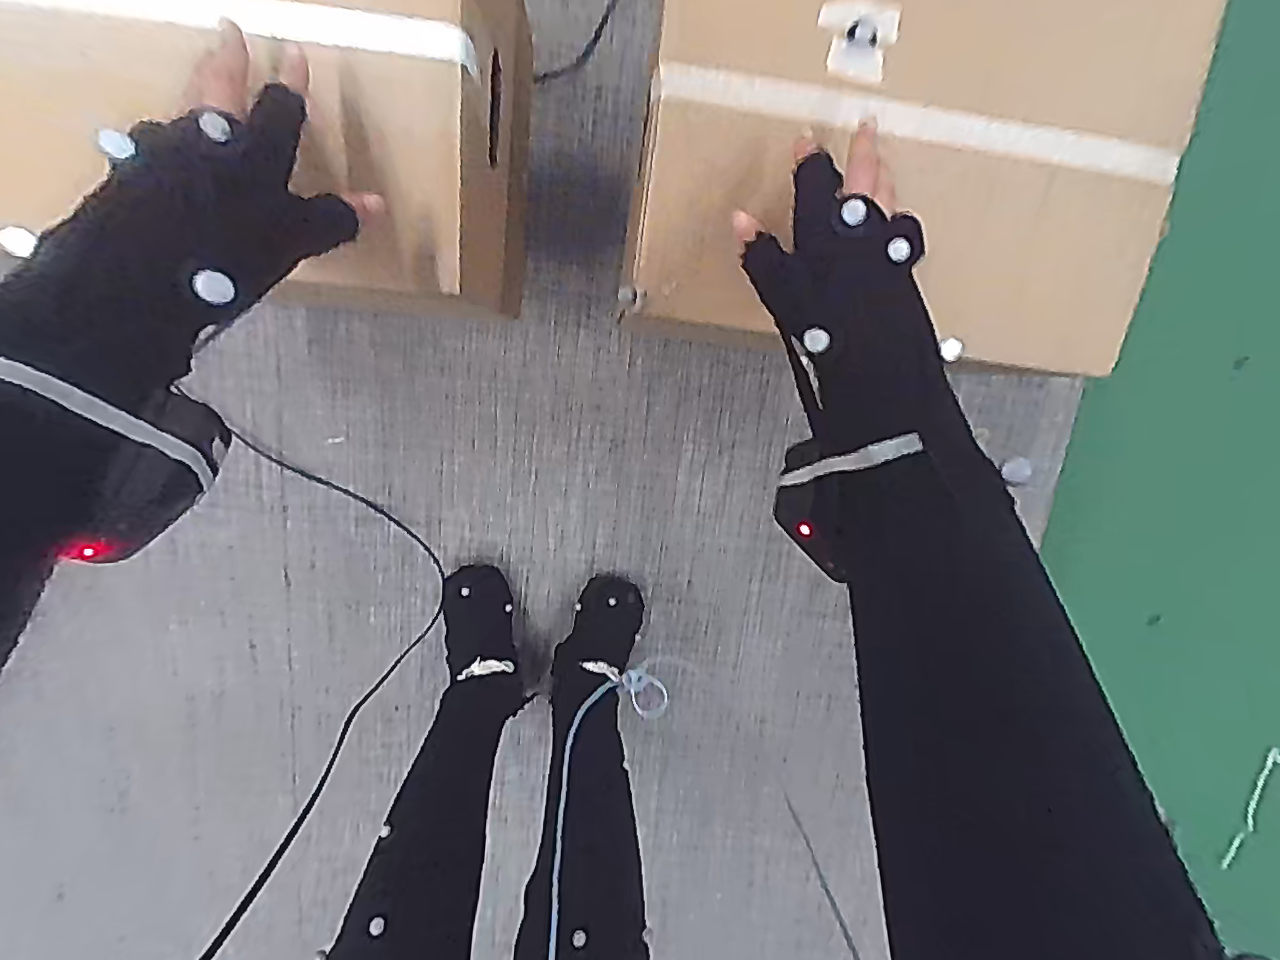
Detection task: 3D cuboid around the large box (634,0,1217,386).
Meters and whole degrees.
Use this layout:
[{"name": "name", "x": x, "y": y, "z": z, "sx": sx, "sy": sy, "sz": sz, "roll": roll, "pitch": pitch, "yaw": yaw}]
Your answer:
[{"name": "large box", "x": 0.216, "y": -0.285, "z": 0.568, "sx": 0.408, "sy": 0.320, "sz": 0.320, "roll": 7, "pitch": 102, "yaw": -5}]
